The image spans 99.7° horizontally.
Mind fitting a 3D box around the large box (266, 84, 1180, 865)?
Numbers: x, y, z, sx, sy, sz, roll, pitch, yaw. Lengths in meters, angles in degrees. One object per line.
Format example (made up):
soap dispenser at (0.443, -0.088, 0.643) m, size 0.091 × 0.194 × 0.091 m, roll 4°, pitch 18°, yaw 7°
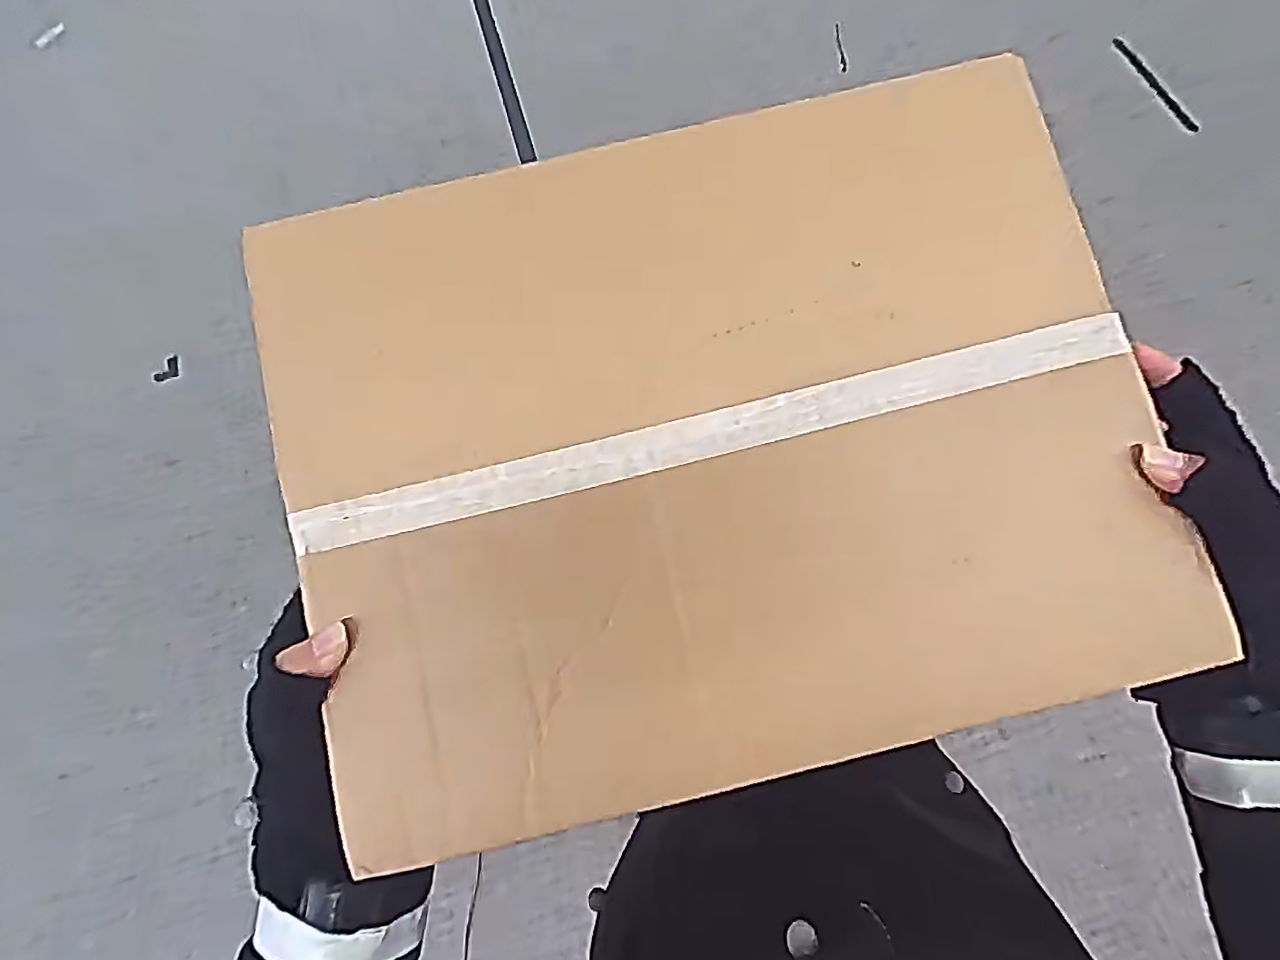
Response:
large box at (0.034, -0.001, 0.417) m, size 0.408 × 0.320 × 0.320 m, roll -14°, pitch 83°, yaw -1°
